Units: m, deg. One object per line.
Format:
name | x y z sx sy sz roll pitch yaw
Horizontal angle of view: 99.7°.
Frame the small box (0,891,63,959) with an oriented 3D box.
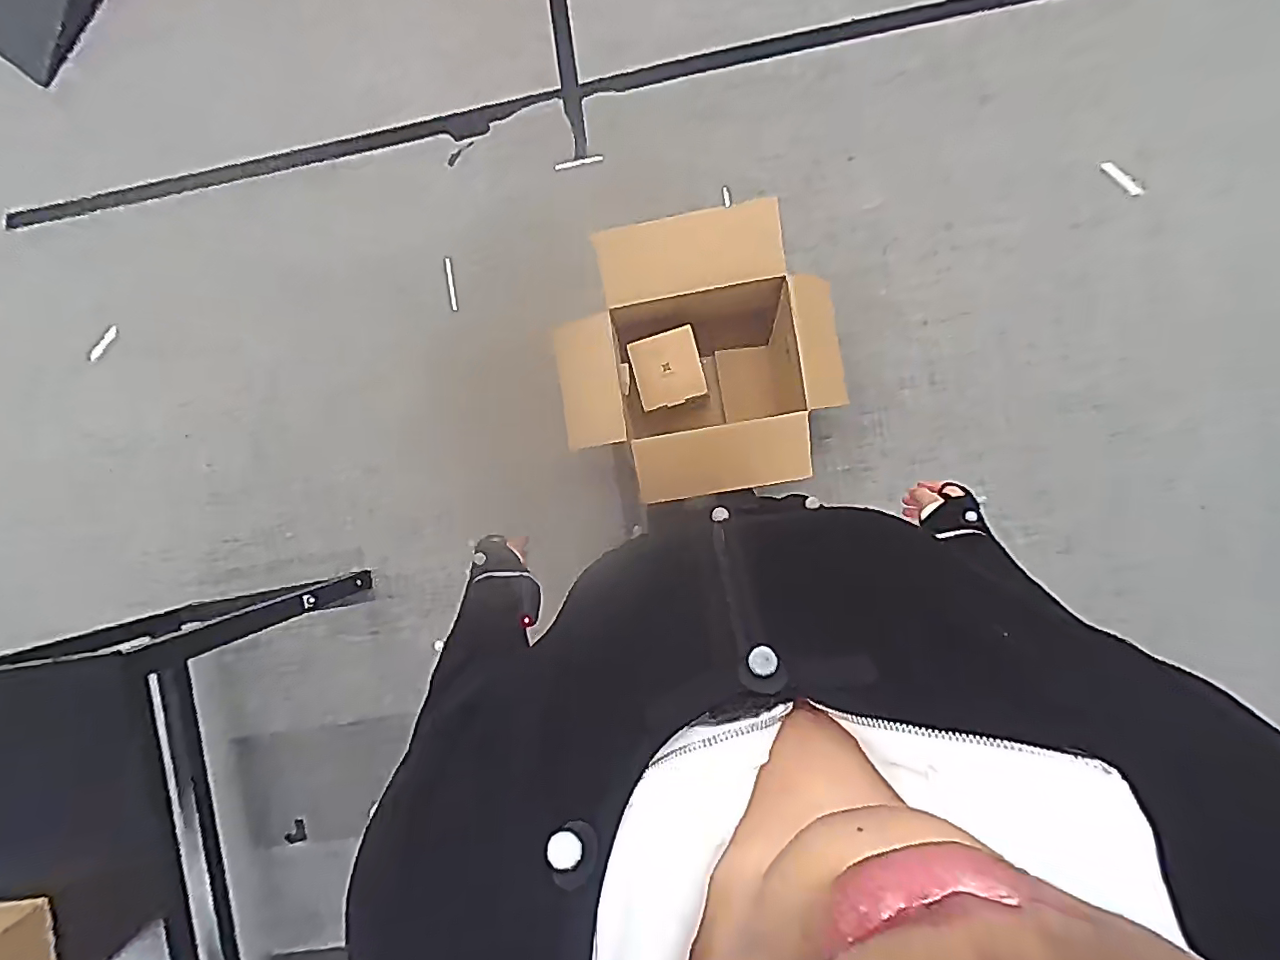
small box | -1.023 0.763 0.805 0.168 0.176 0.179 -8 92 5
